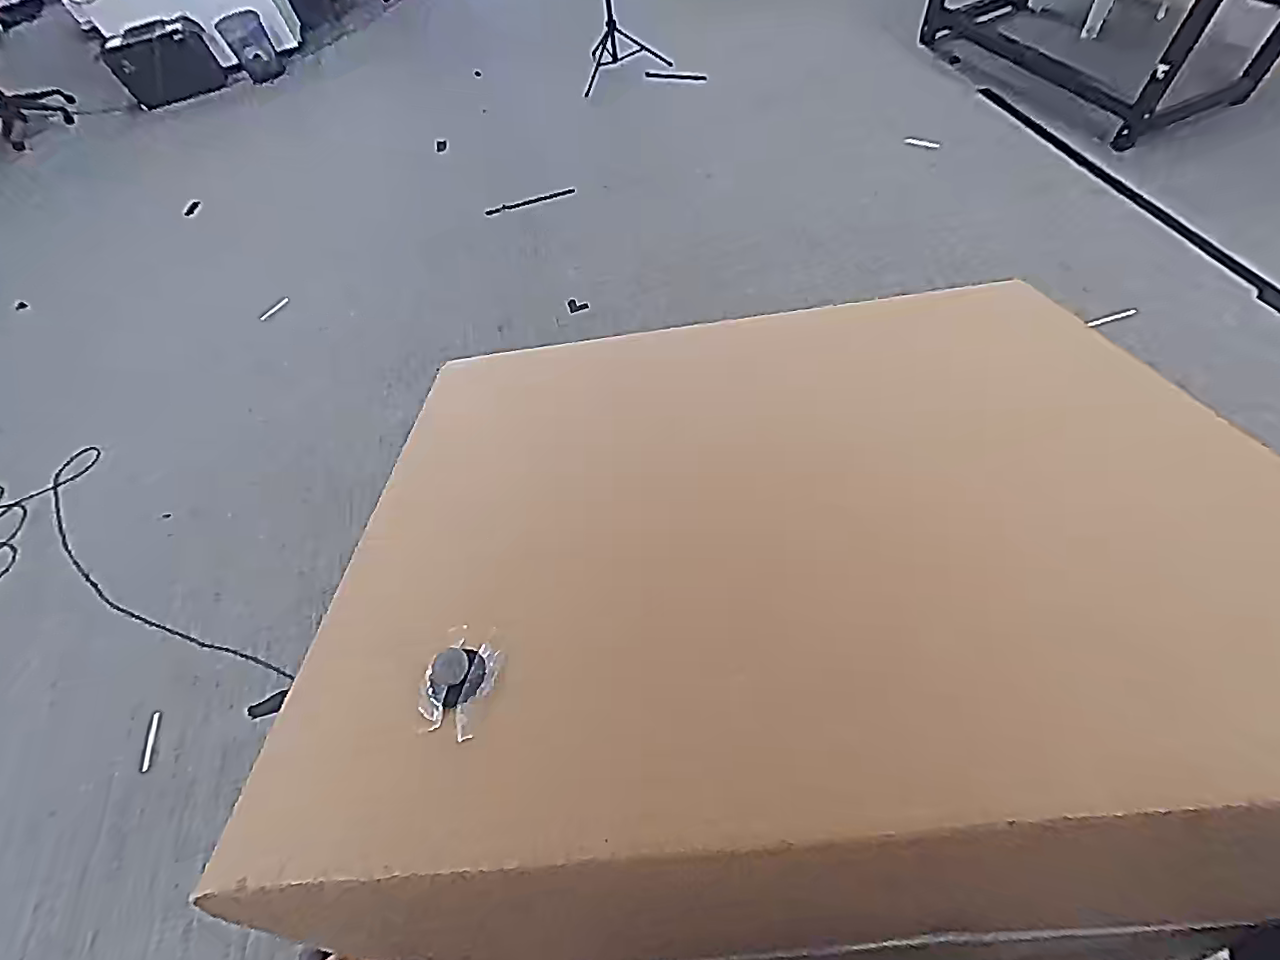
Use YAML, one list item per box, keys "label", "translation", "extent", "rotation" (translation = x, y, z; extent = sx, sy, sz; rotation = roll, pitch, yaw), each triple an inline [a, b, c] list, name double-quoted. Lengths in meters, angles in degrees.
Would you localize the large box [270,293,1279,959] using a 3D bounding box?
- label: "large box"
  translation: [0.087, 0.103, 0.370]
  extent: [0.408, 0.320, 0.320]
  rotation: [-8, 42, 4]
